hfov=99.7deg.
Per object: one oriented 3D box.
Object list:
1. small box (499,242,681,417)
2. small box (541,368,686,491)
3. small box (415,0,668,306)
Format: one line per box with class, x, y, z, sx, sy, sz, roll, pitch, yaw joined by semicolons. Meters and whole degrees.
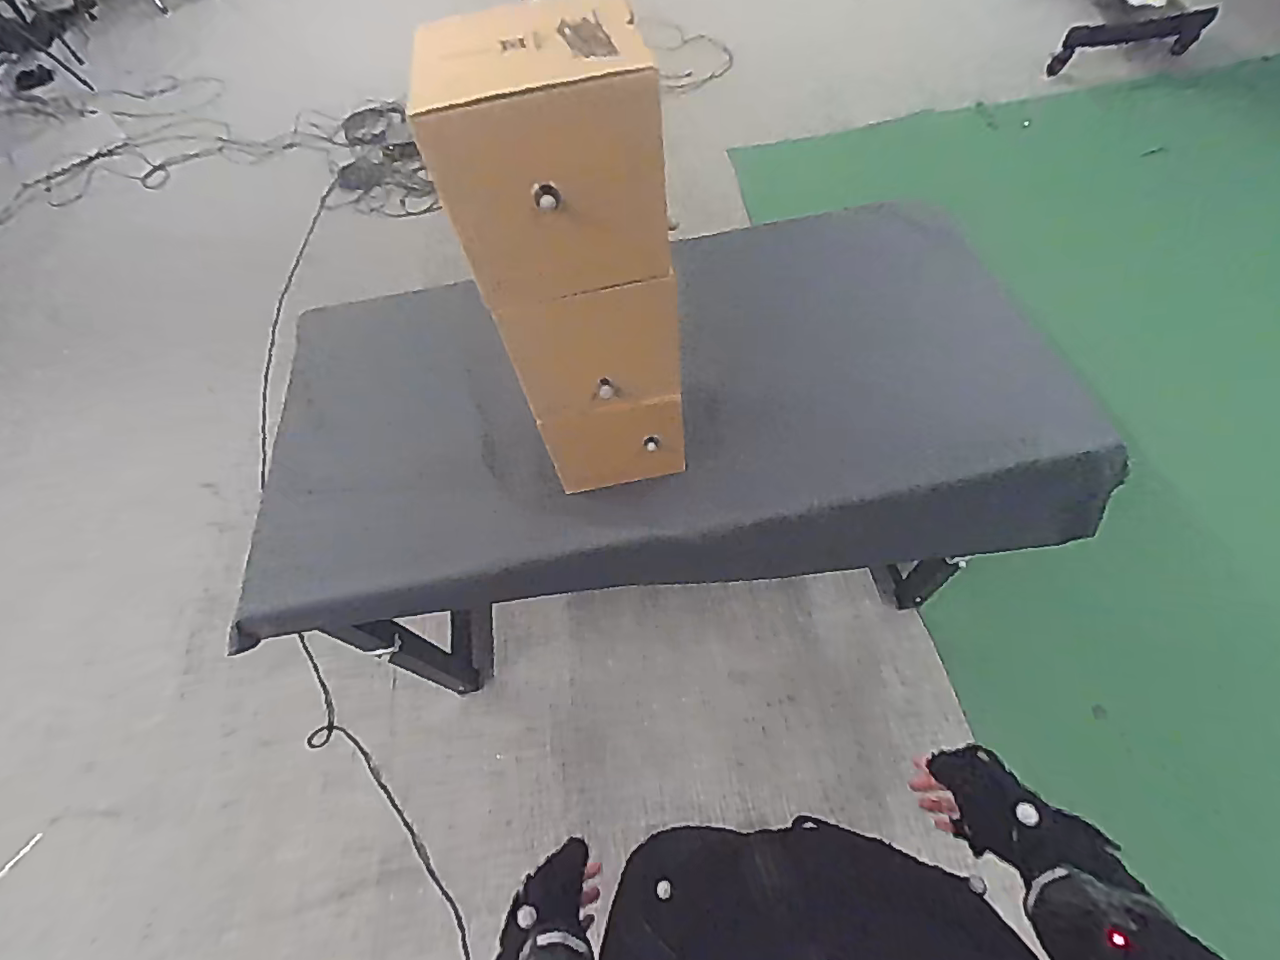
small box;-0.054;-0.195;0.617;0.179;0.176;0.168;-12;57;-1
small box;-0.036;-0.106;0.752;0.179;0.176;0.168;-12;57;0
small box;-0.074;-0.283;0.478;0.179;0.176;0.168;-12;58;0
